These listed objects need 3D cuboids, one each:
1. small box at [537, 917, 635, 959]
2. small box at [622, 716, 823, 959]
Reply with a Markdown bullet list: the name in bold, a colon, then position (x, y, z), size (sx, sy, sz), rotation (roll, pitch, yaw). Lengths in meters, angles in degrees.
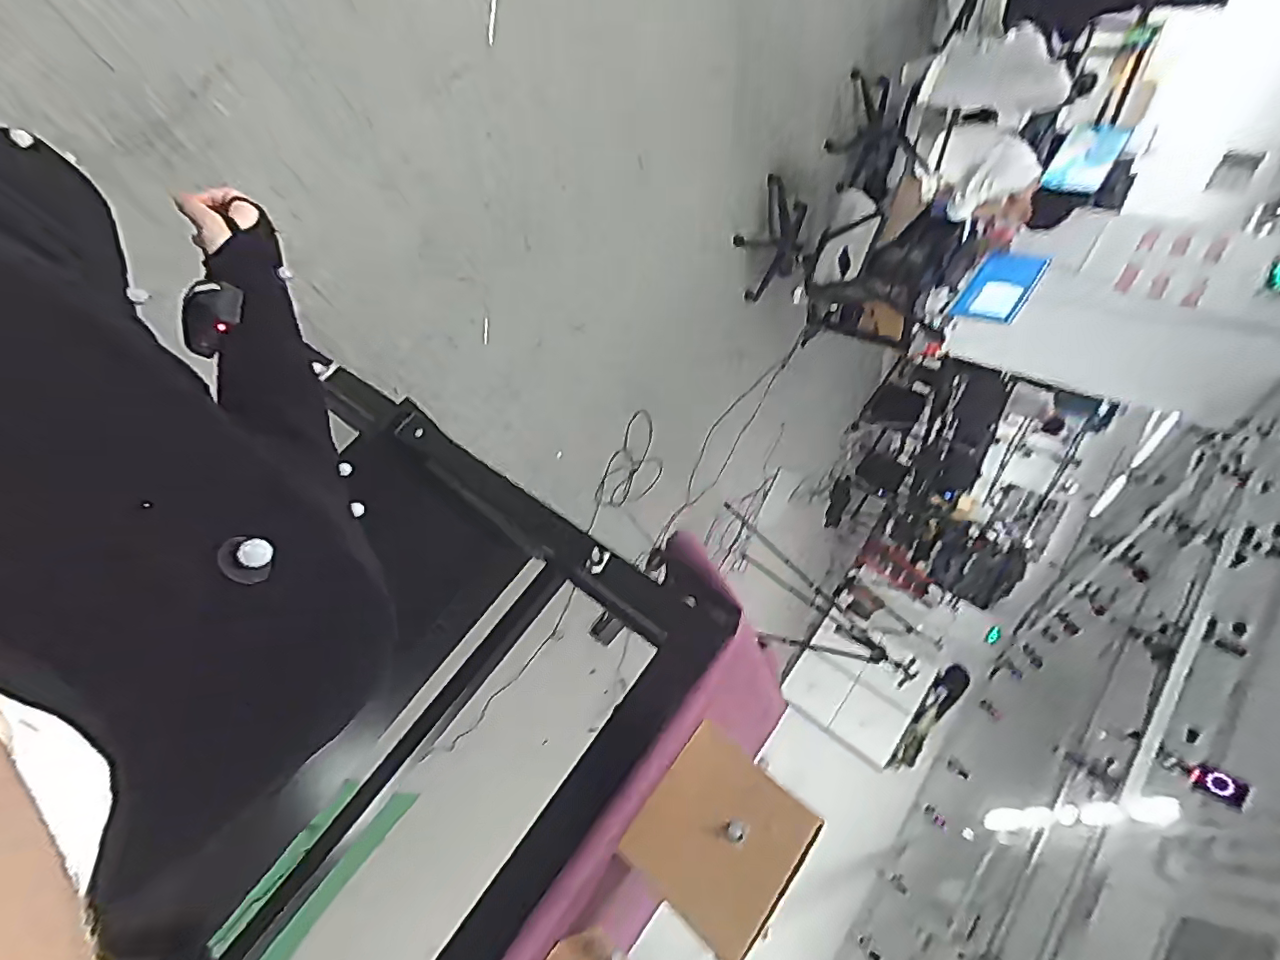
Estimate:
- **small box**: position (-0.063, 0.639, 0.598), size (0.179, 0.176, 0.168), rotation (-50, 148, -19)
- **small box**: position (0.106, 0.425, 0.669), size (0.179, 0.176, 0.168), rotation (-50, 147, -17)
